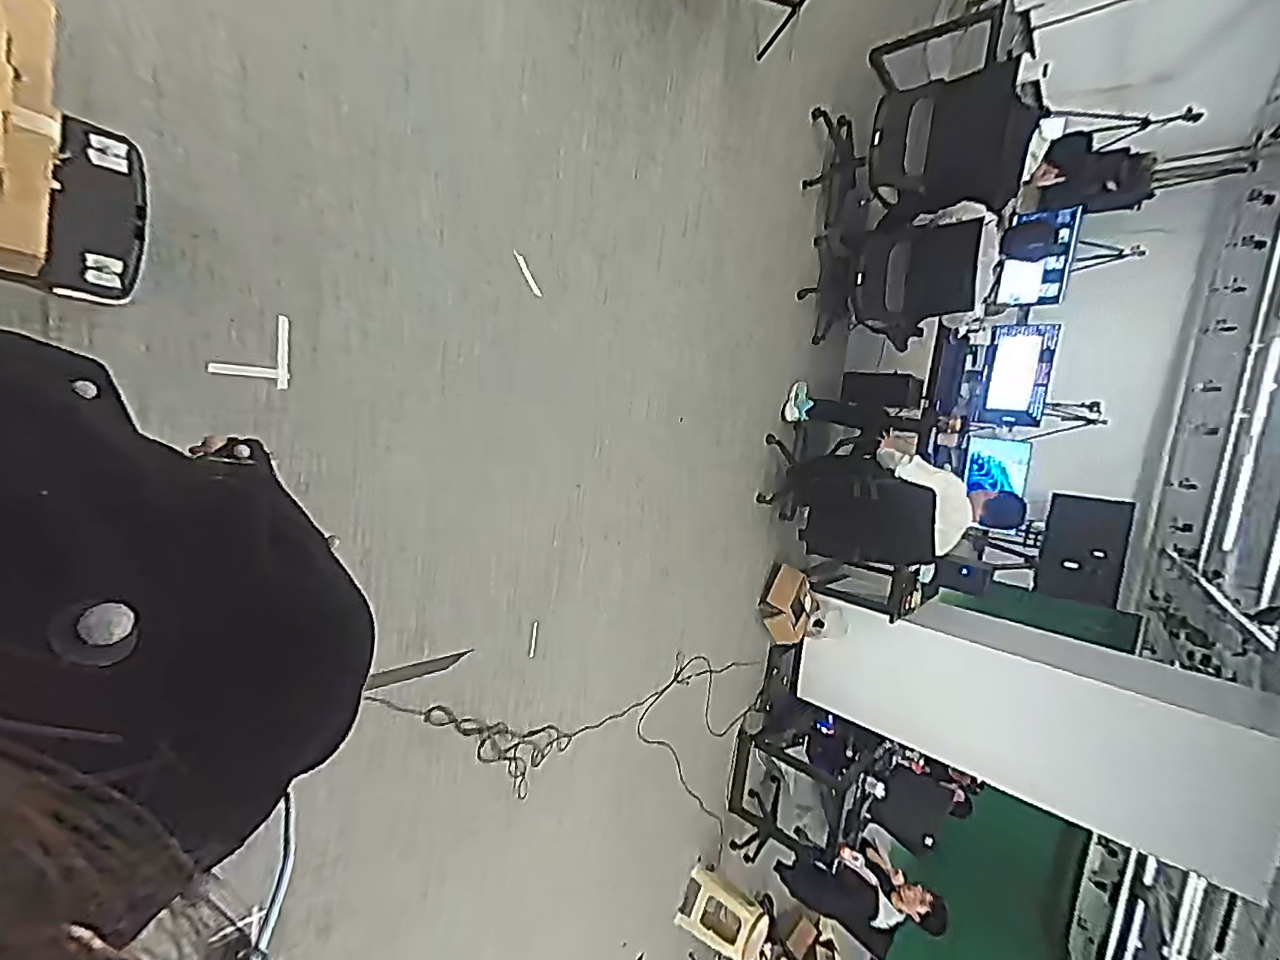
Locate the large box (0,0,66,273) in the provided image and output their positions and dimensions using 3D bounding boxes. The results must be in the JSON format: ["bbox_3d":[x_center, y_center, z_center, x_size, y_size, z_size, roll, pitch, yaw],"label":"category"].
[{"bbox_3d":[-0.956,-0.458,0.619,0.408,0.320,0.320,3,96,-49],"label":"large box"}]

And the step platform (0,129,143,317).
[{"bbox_3d":[-1.156,-0.471,0.752,0.684,0.204,0.286,11,91,-49],"label":"step platform"}]
